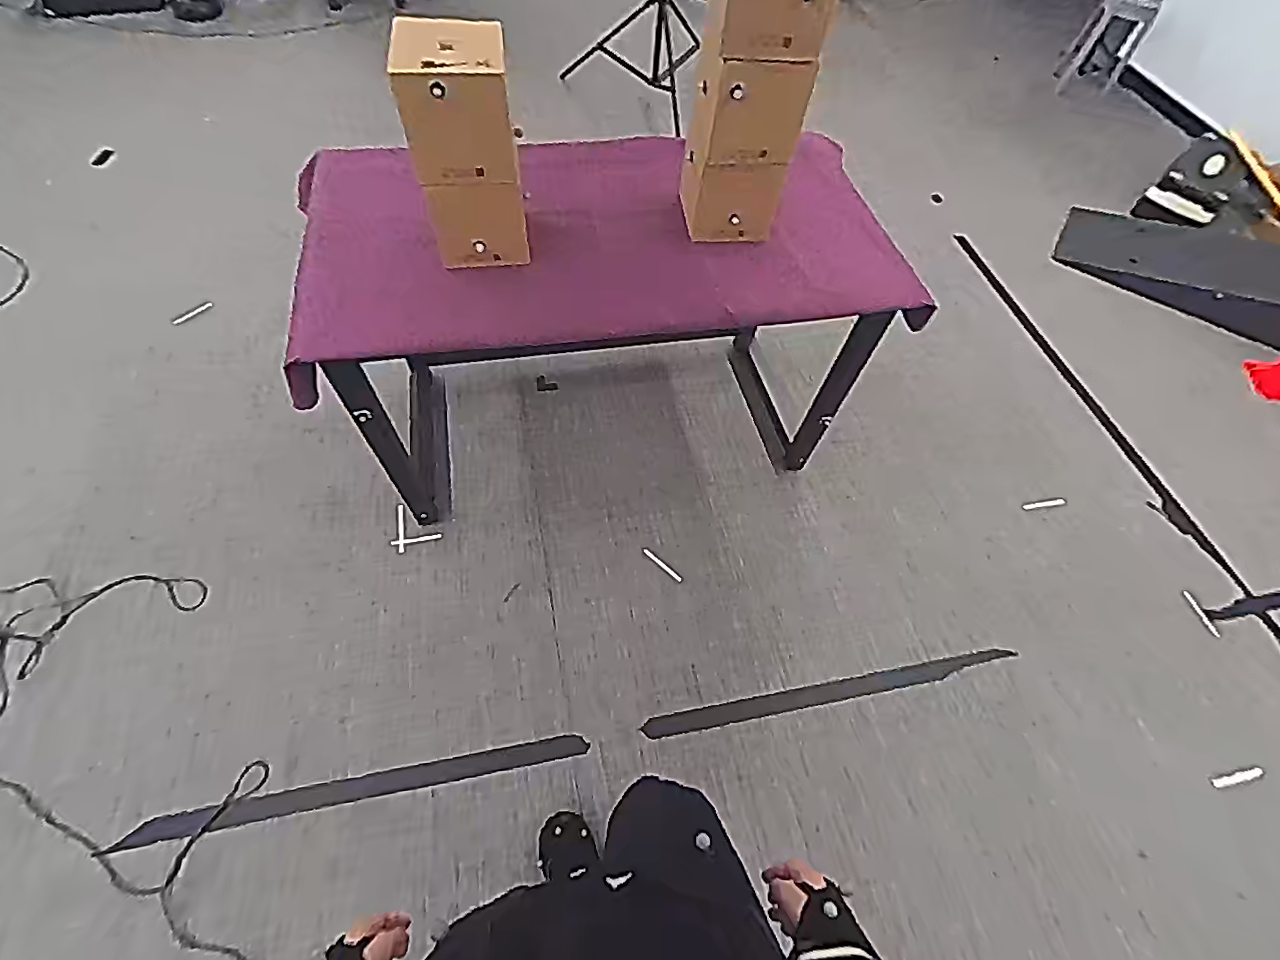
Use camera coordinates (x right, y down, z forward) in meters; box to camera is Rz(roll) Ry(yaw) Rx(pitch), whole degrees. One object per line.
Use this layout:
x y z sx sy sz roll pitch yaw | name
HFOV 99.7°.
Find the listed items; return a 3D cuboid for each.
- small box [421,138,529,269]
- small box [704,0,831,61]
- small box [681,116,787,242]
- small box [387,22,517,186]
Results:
-0.306 -0.527 1.025 0.168 0.176 0.179 -7 61 -9 | small box
0.202 -0.781 0.836 0.168 0.176 0.179 -2 58 -6 | small box
0.183 -0.620 1.120 0.168 0.176 0.179 -4 60 -6 | small box
-0.296 -0.610 0.884 0.168 0.176 0.179 -6 60 -8 | small box
